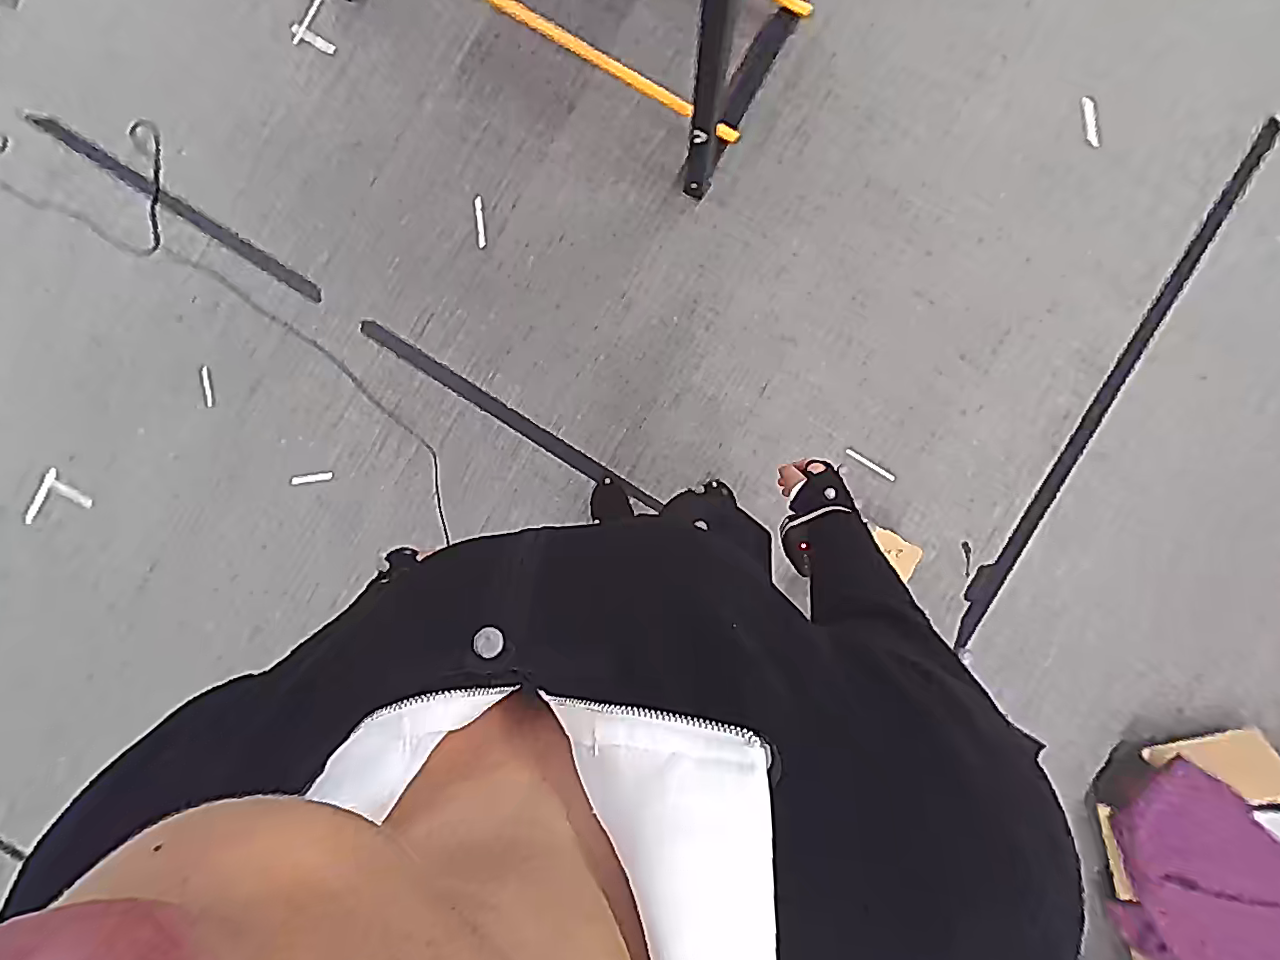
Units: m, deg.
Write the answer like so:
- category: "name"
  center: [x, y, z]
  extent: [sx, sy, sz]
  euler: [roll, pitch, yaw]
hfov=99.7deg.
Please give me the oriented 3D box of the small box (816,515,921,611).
- category: "small box"
  center: [0.576, 0.206, 1.397]
  extent: [0.168, 0.176, 0.179]
  euler: [29, 91, 1]
